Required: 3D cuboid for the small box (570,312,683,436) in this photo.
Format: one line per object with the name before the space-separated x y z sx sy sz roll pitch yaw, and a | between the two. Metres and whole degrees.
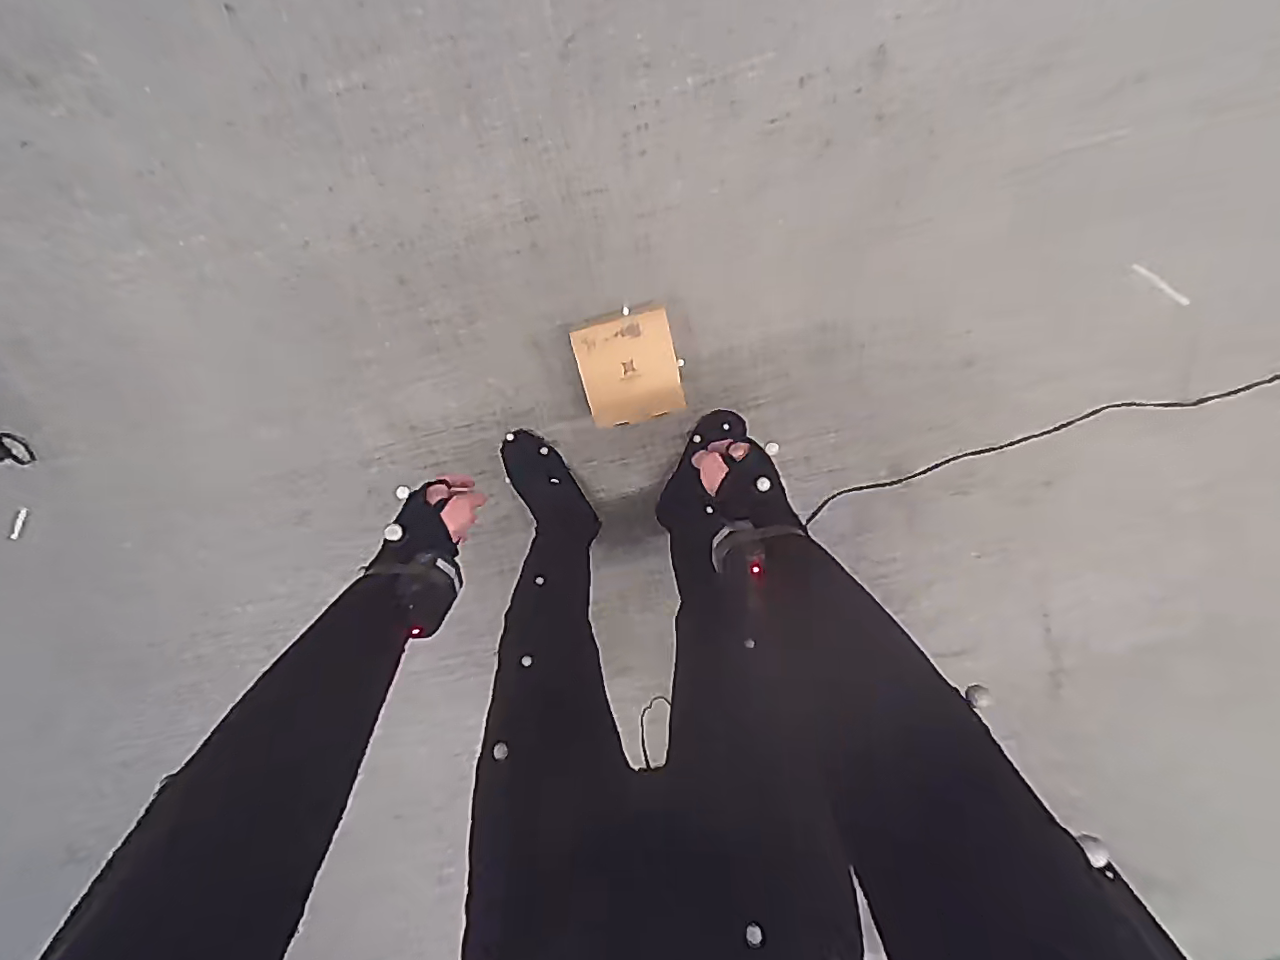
small box | -0.018 -0.201 1.002 0.168 0.176 0.179 -13 110 5
